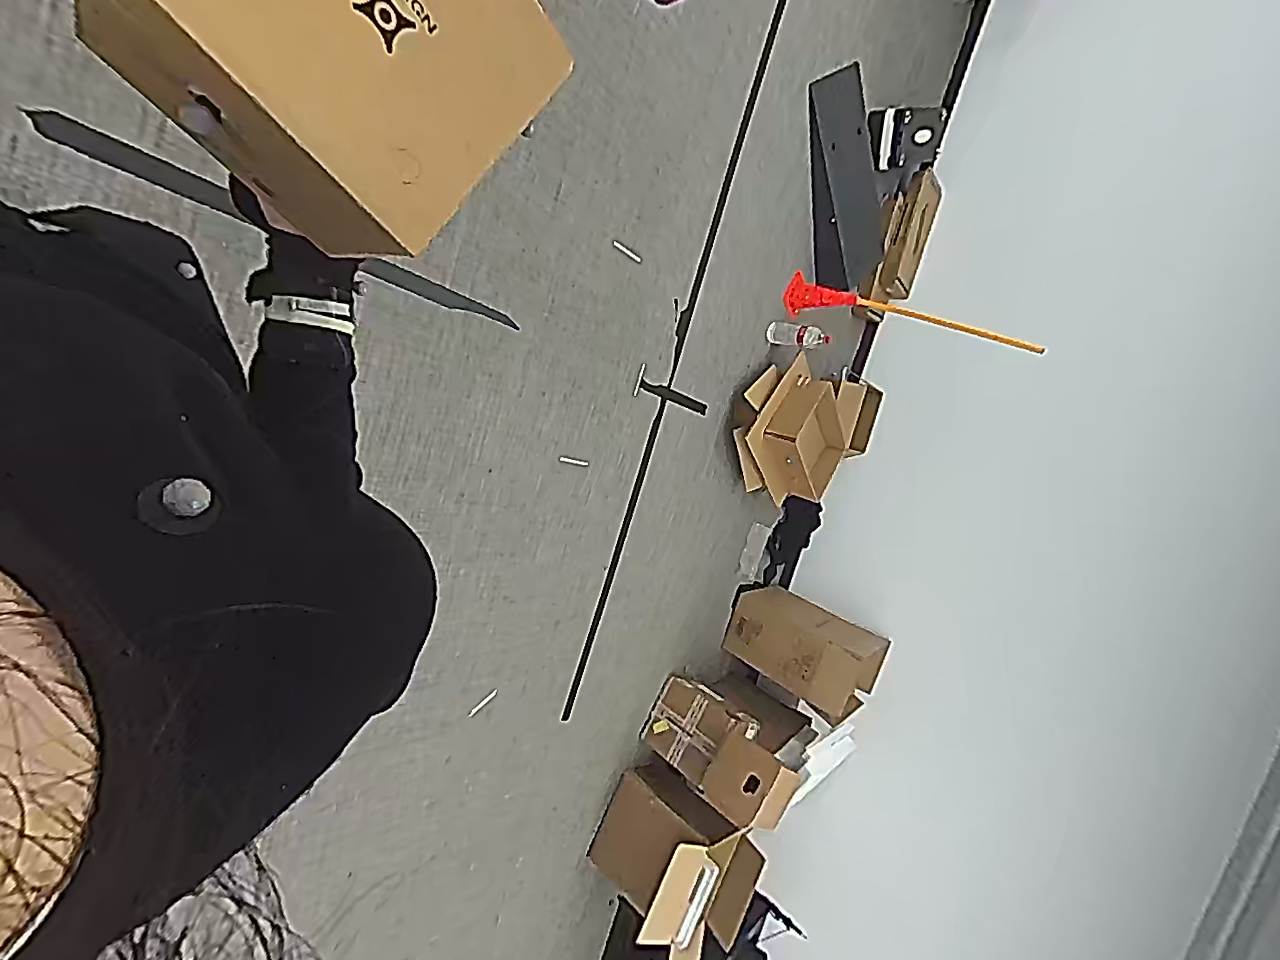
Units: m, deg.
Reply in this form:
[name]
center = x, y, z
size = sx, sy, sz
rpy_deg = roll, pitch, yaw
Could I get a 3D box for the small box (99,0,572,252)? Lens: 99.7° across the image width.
[small box]
center = -0.183, -0.264, 0.337
size = 0.179, 0.176, 0.168
rpy_deg = -59, 137, -12
